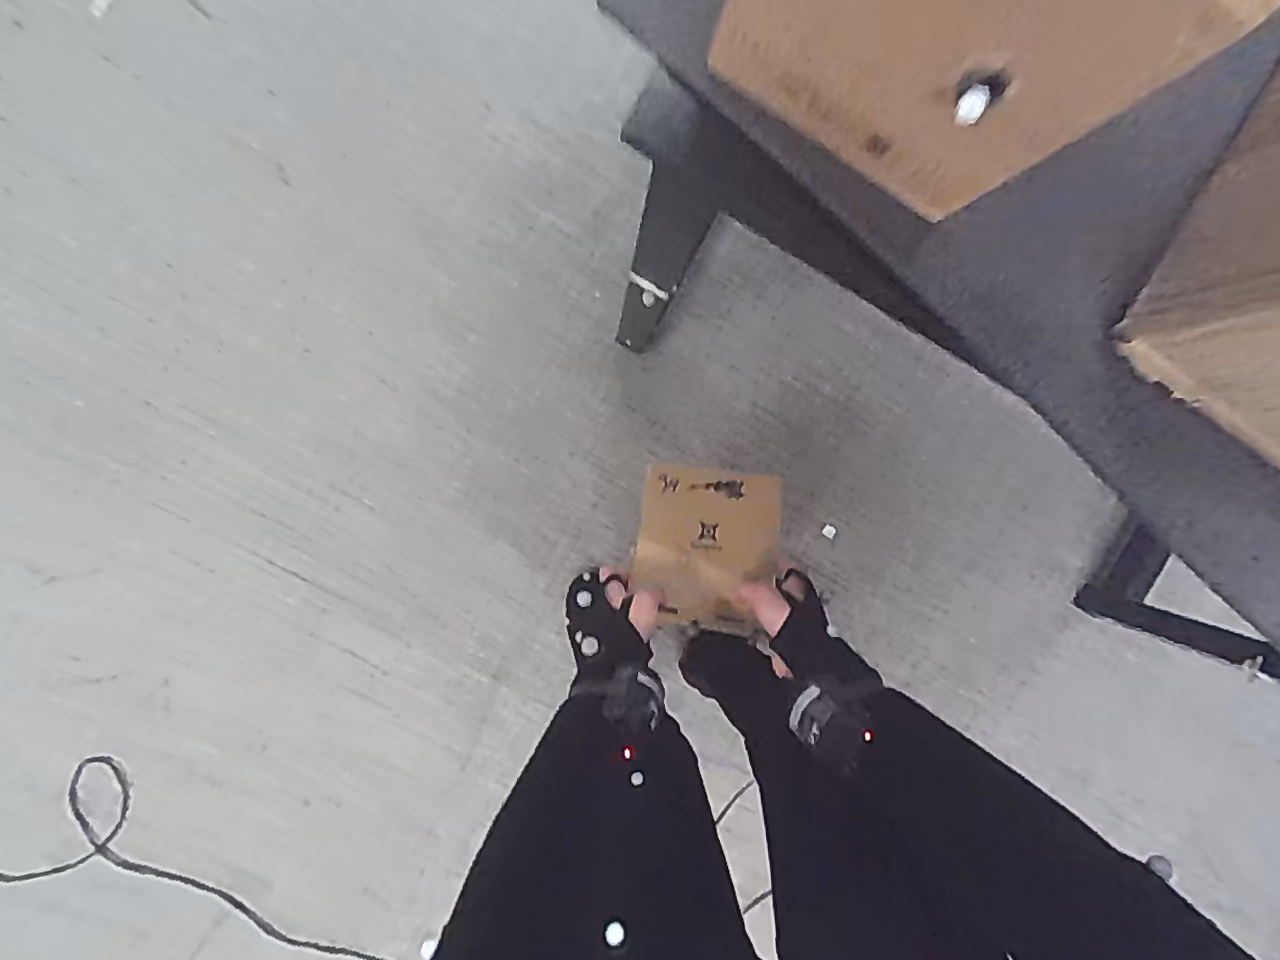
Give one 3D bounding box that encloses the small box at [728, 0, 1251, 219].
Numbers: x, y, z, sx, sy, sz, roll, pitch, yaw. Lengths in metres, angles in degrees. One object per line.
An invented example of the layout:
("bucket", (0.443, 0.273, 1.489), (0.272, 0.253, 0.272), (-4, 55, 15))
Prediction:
("small box", (0.159, -0.265, 0.254), (0.168, 0.176, 0.179), (28, 88, -8))
